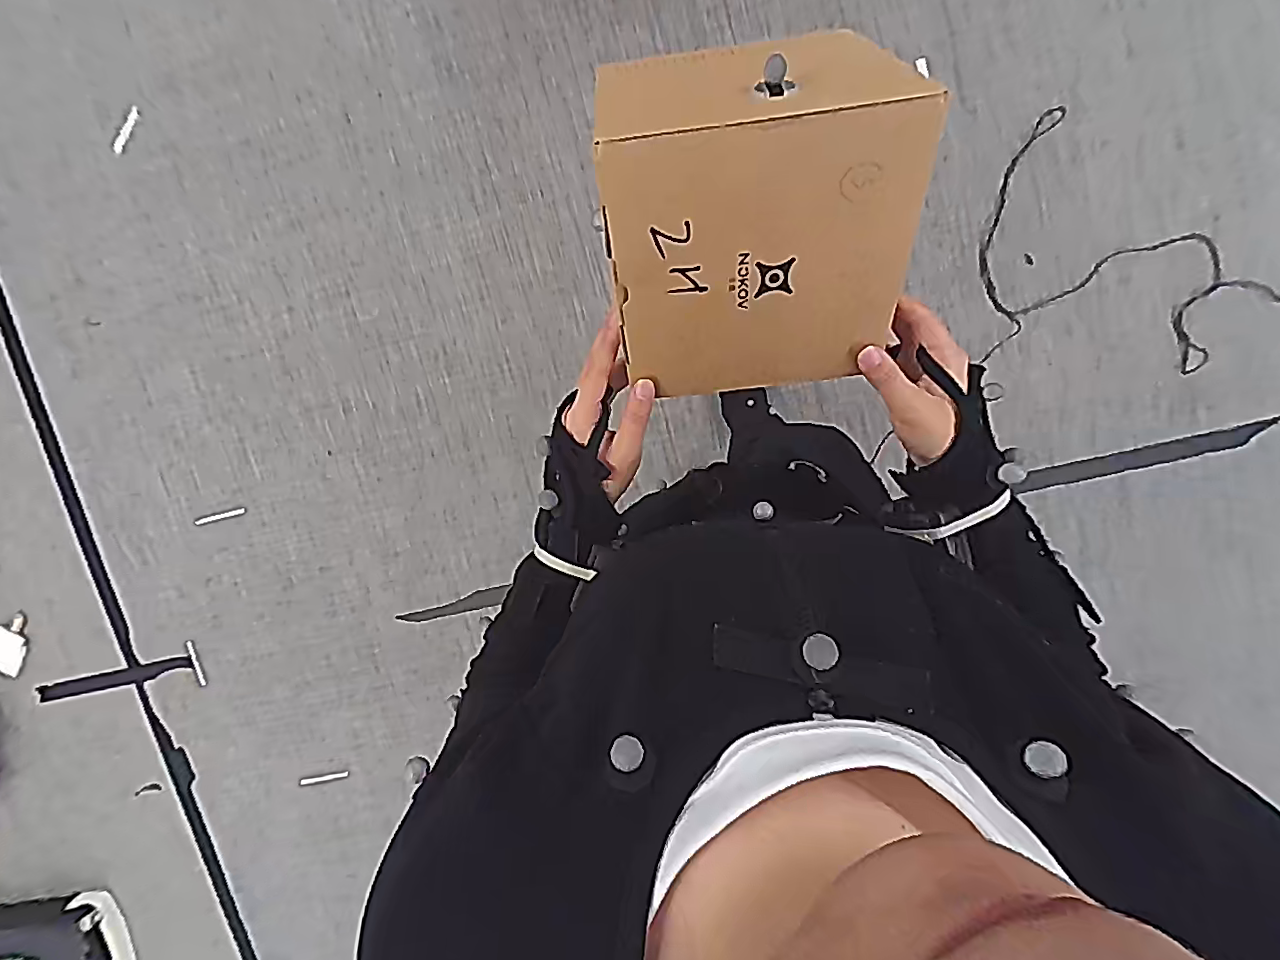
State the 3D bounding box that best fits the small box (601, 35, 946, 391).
[{"bbox_3d":[0.070,-0.187,0.380,0.179,0.176,0.168,-6,137,3],"label":"small box"}]
